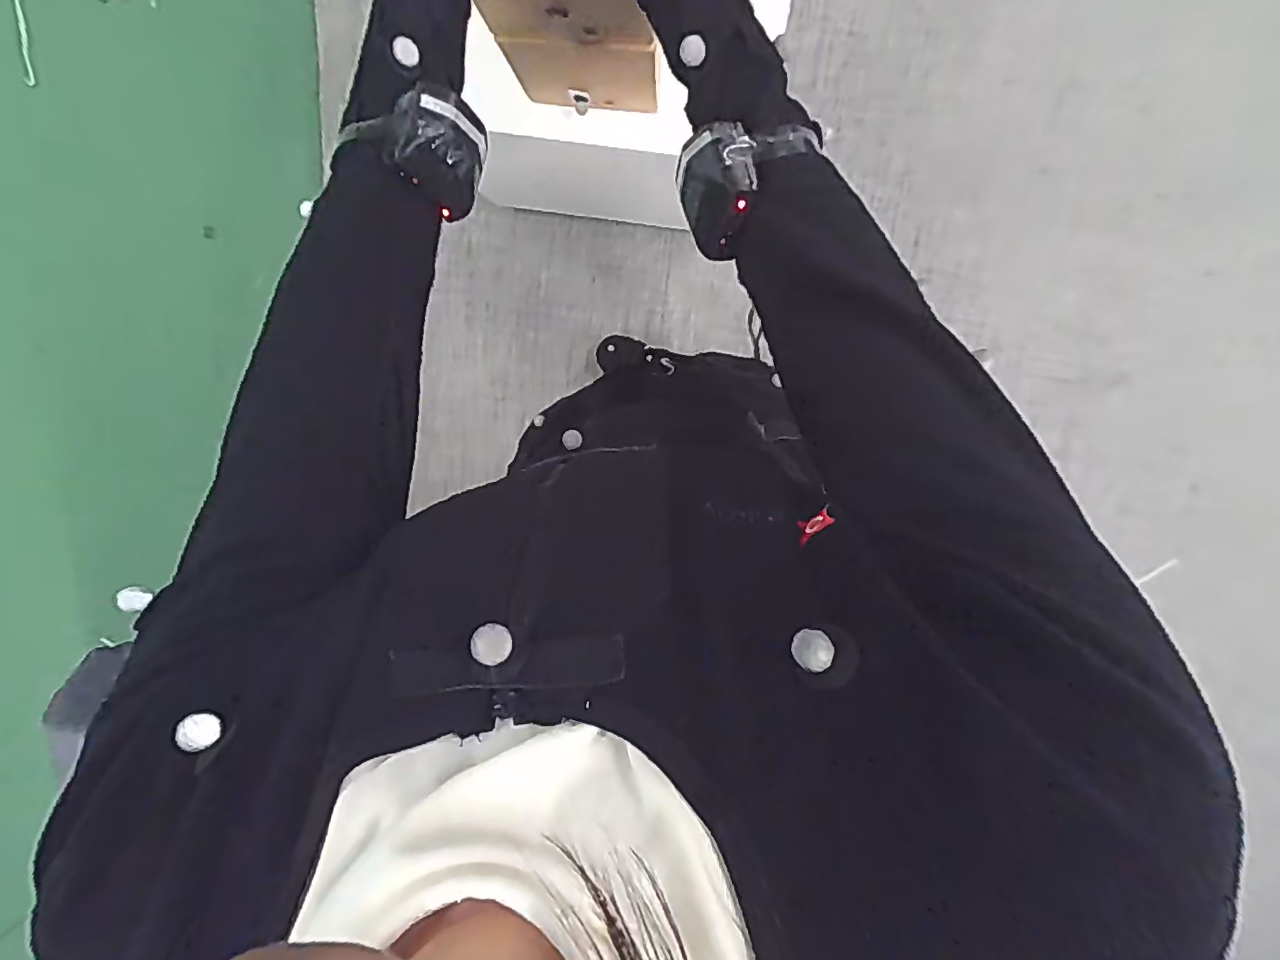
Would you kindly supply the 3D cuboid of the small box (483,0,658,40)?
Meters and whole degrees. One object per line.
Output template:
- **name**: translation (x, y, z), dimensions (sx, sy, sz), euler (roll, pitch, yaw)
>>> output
- **small box**: translation (-0.066, -0.496, 0.427), dimensions (0.168, 0.176, 0.179), euler (2, 104, 3)

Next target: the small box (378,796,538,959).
- **small box**: translation (-0.253, 0.595, 0.781), dimensions (0.179, 0.176, 0.168), euler (9, 107, 0)

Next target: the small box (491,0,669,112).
- **small box**: translation (-0.055, -0.535, 0.586), dimensions (0.168, 0.176, 0.179), euler (5, 107, 3)
